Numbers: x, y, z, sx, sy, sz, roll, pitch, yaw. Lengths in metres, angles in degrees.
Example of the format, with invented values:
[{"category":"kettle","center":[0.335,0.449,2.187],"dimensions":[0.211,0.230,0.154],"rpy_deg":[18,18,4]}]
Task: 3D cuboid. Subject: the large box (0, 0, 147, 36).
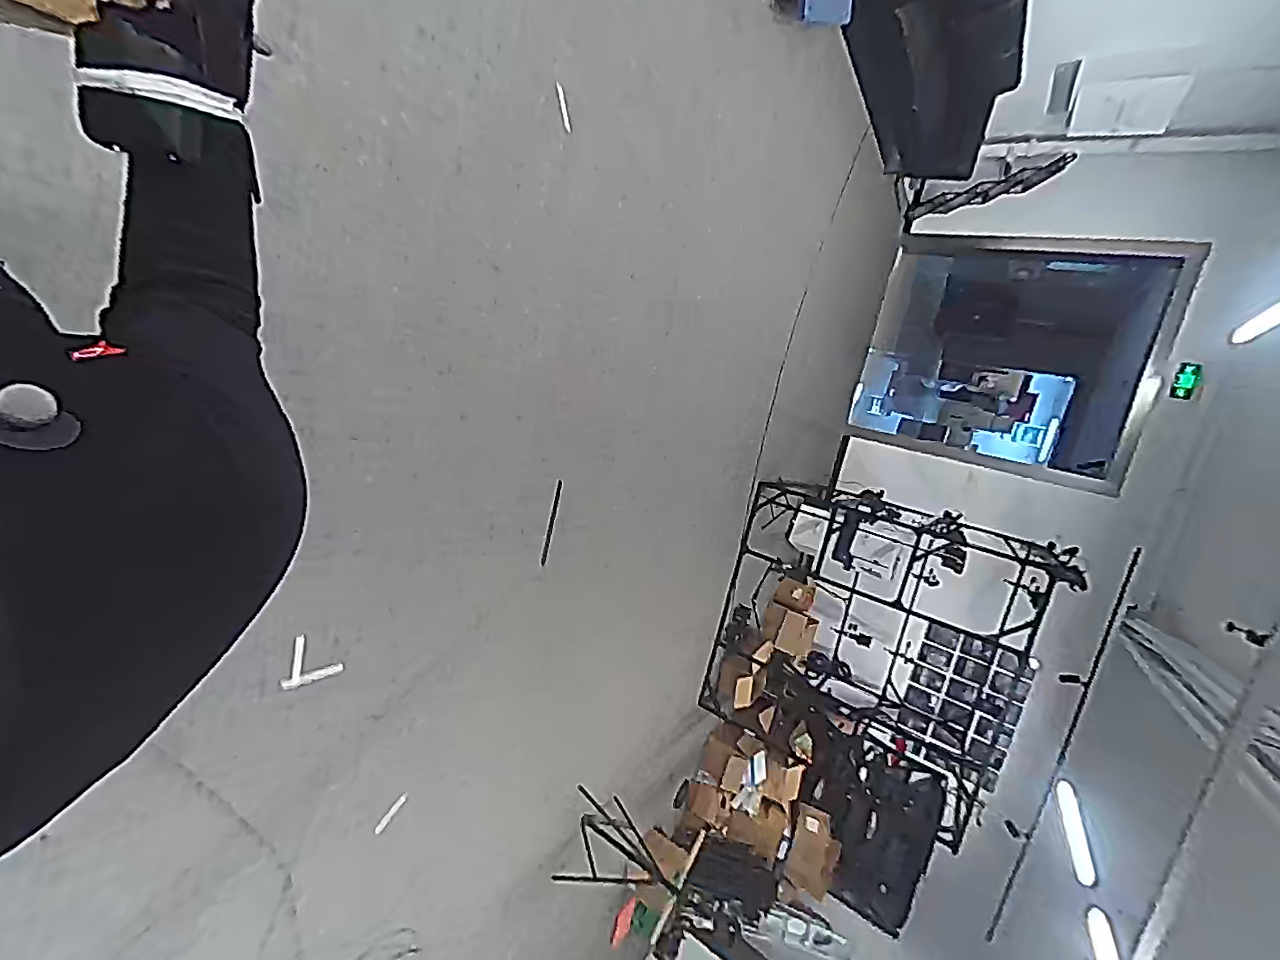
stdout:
[{"category":"large box","center":[-0.503,-0.459,0.201],"dimensions":[0.408,0.320,0.320],"rpy_deg":[-14,128,-58]}]
